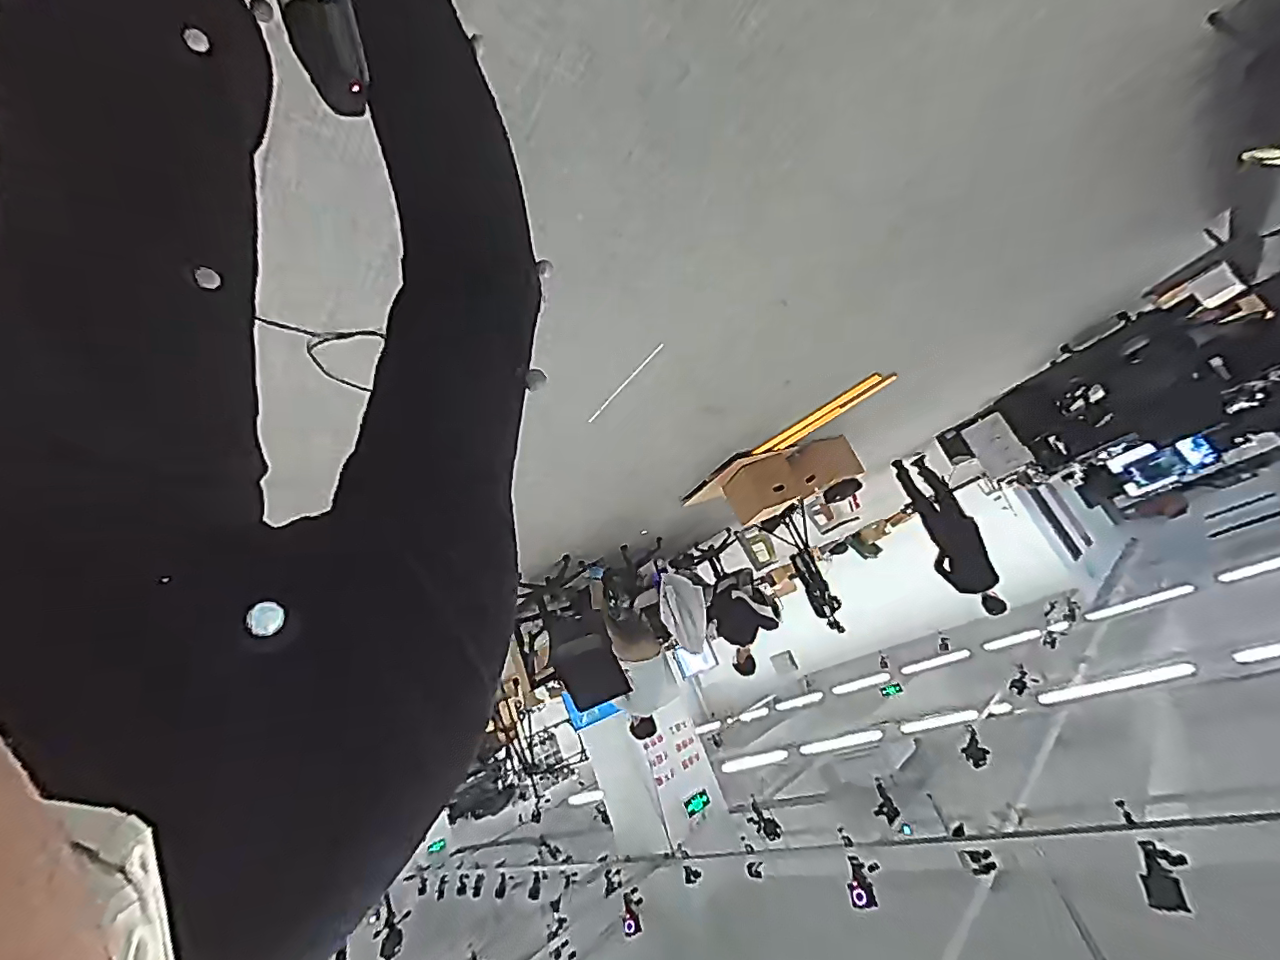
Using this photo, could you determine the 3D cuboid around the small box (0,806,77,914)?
[{"bbox_3d":[-1.357,0.840,1.180,0.168,0.176,0.179,-6,154,-43],"label":"small box"}]
